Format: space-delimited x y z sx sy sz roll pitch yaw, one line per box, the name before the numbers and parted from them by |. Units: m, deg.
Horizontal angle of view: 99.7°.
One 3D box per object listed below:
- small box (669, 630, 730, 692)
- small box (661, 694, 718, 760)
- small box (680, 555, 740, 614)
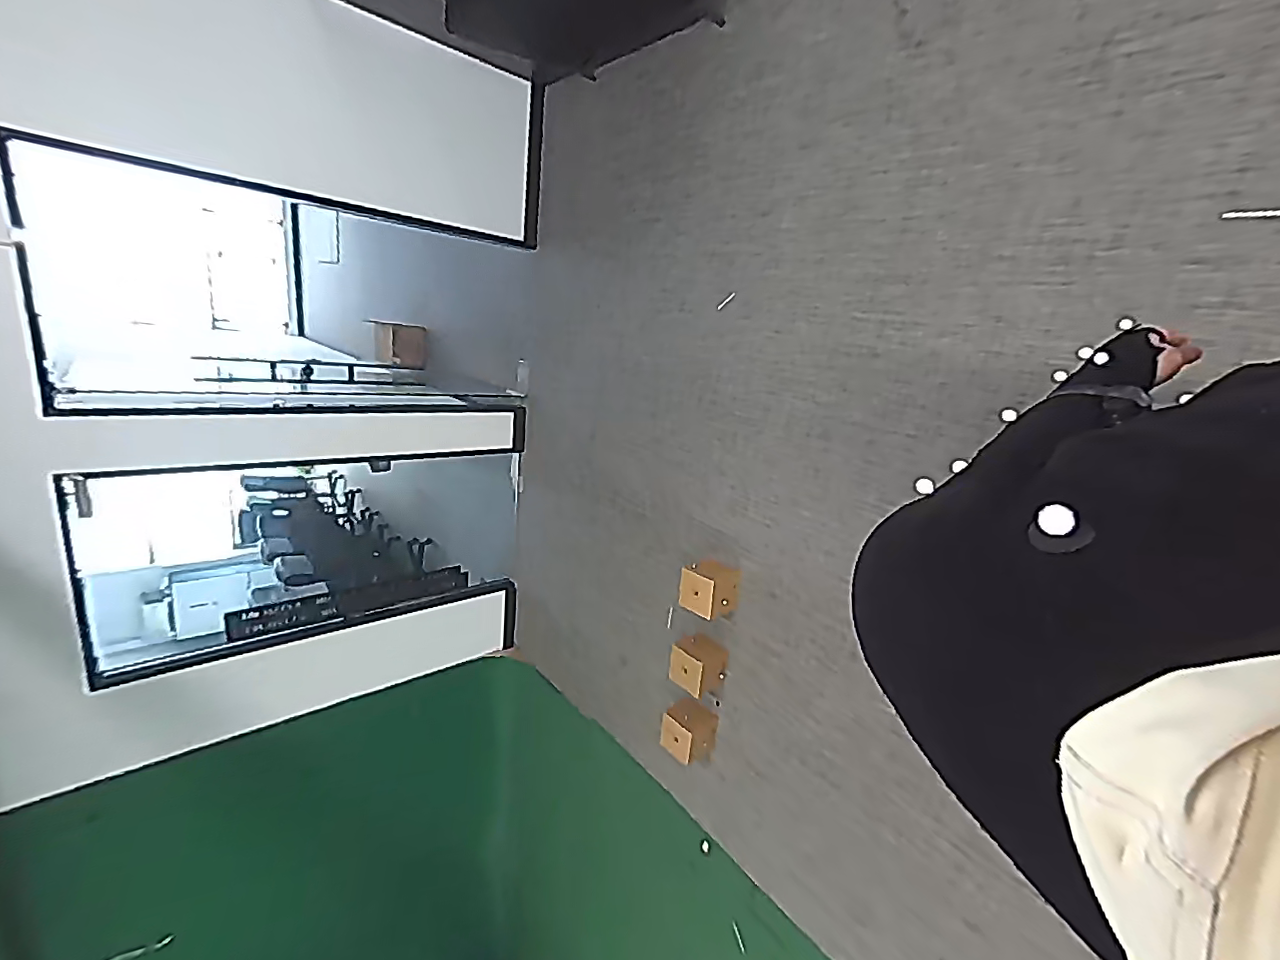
small box | 0.251 0.754 2.281 0.179 0.176 0.168 22 112 46
small box | 0.219 1.070 2.362 0.179 0.176 0.168 22 111 46
small box | 0.285 0.417 2.193 0.179 0.176 0.168 18 109 48
